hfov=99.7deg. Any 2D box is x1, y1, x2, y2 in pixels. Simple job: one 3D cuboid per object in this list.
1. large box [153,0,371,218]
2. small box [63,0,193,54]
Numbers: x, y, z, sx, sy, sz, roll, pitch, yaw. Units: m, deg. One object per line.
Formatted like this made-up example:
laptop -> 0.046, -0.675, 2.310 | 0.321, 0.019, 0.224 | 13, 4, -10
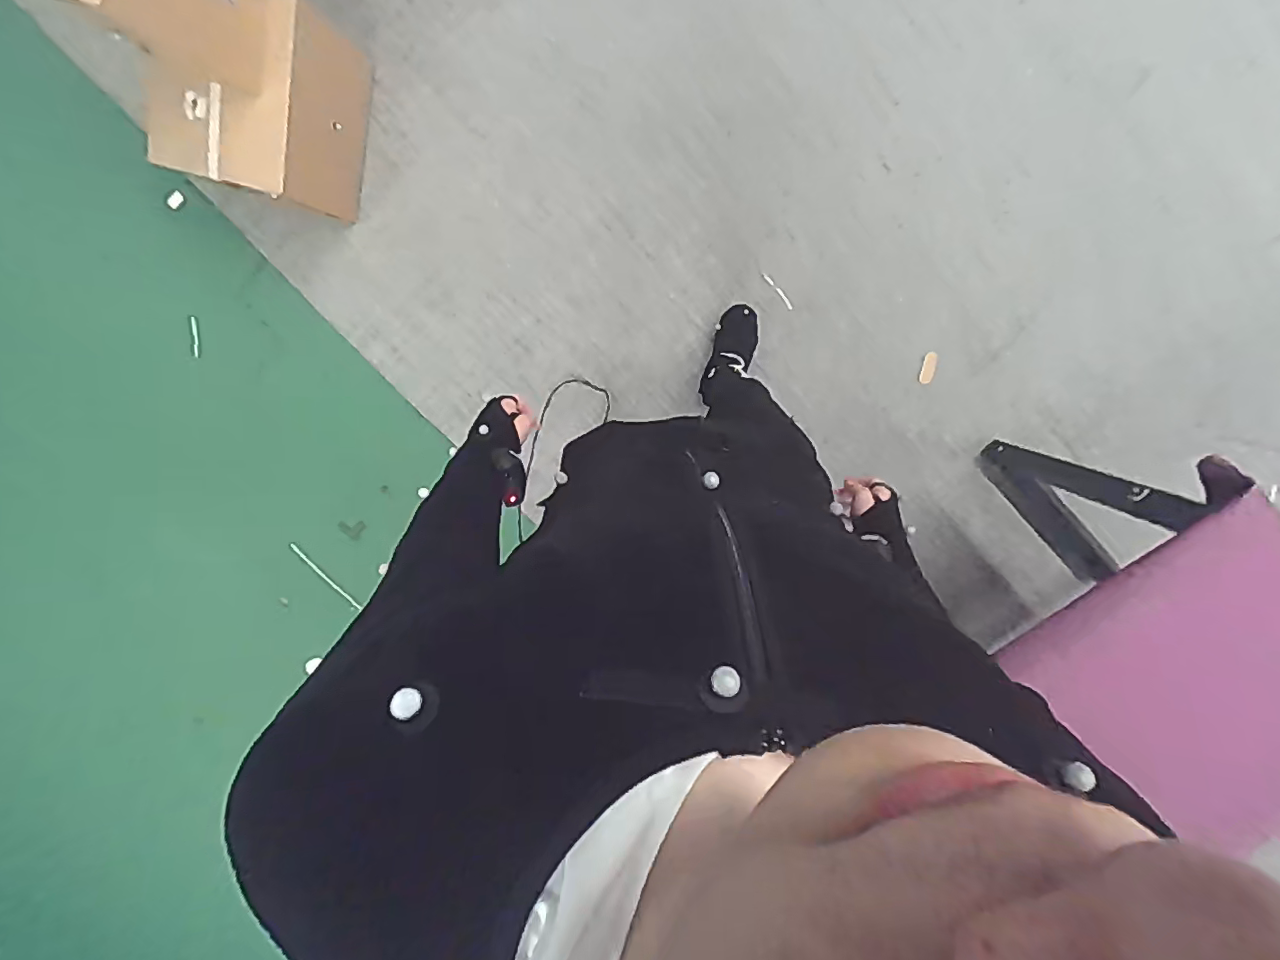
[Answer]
large box -> -0.889, -0.906, 1.303 | 0.320, 0.320, 0.408 | 15, 106, 0
small box -> -0.880, -0.862, 0.889 | 0.168, 0.176, 0.179 | 19, 105, -2
